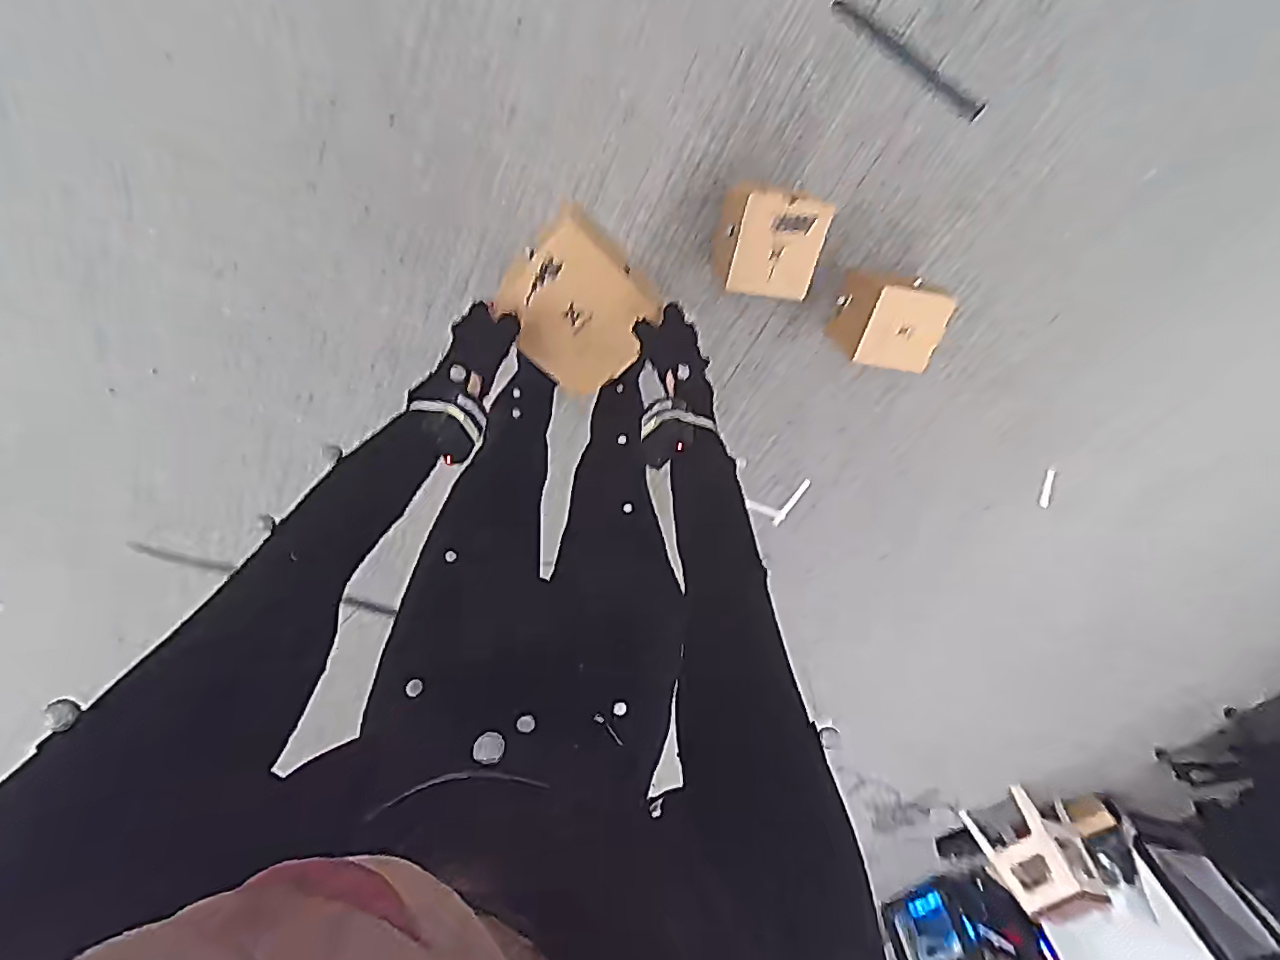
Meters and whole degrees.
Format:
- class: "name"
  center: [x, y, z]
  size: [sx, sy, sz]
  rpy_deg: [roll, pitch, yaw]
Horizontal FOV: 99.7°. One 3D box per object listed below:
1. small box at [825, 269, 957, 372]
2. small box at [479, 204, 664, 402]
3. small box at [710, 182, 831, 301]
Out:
- class: "small box"
  center: [0.542, -0.356, 1.195]
  size: [0.179, 0.176, 0.168]
  rpy_deg: [6, 123, -9]
- class: "small box"
  center: [-0.088, -0.247, 0.742]
  size: [0.168, 0.176, 0.179]
  rpy_deg: [-41, 118, 21]
- class: "small box"
  center: [0.248, -0.479, 1.077]
  size: [0.168, 0.176, 0.179]
  rpy_deg: [5, 124, -9]
